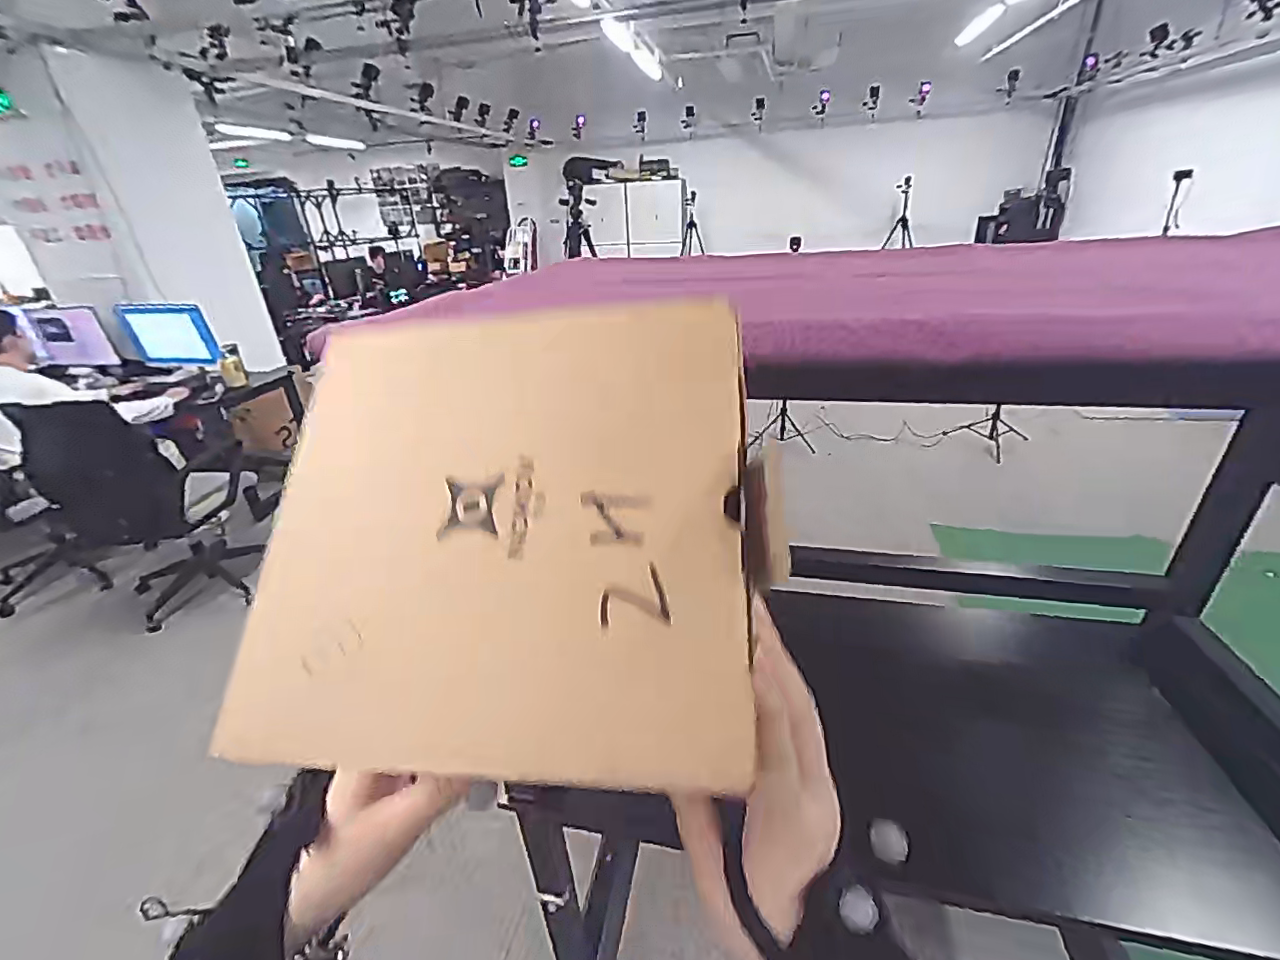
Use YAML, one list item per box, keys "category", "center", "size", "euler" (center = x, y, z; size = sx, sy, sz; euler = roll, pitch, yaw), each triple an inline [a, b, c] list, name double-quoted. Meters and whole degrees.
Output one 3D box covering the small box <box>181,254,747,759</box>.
- category: "small box"
  center: [-0.041, 0.026, 0.254]
  size: [0.179, 0.176, 0.168]
  euler: [-2, 70, 9]
